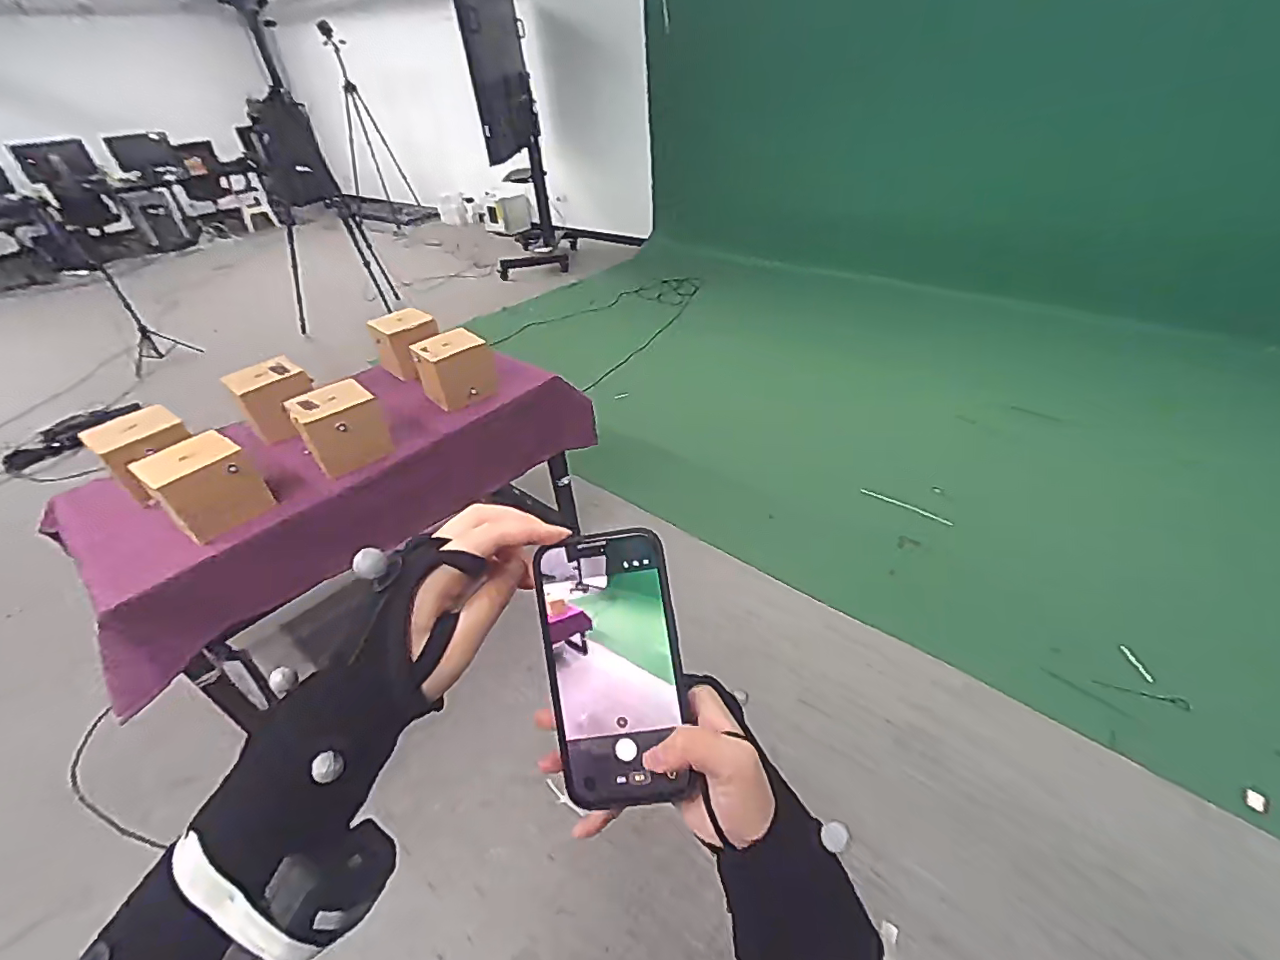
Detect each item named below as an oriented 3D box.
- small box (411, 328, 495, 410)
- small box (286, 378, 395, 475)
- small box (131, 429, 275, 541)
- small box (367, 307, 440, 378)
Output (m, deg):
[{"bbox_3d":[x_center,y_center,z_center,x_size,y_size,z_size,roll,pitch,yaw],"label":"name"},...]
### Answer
[{"bbox_3d":[-0.555,-0.336,1.634,0.179,0.176,0.168,-31,44,-30],"label":"small box"},{"bbox_3d":[-0.774,-0.140,1.408,0.179,0.176,0.168,-31,45,-31],"label":"small box"},{"bbox_3d":[-0.992,0.011,1.240,0.168,0.176,0.179,21,43,30],"label":"small box"},{"bbox_3d":[-0.779,-0.461,1.816,0.179,0.176,0.168,30,50,35],"label":"small box"}]
